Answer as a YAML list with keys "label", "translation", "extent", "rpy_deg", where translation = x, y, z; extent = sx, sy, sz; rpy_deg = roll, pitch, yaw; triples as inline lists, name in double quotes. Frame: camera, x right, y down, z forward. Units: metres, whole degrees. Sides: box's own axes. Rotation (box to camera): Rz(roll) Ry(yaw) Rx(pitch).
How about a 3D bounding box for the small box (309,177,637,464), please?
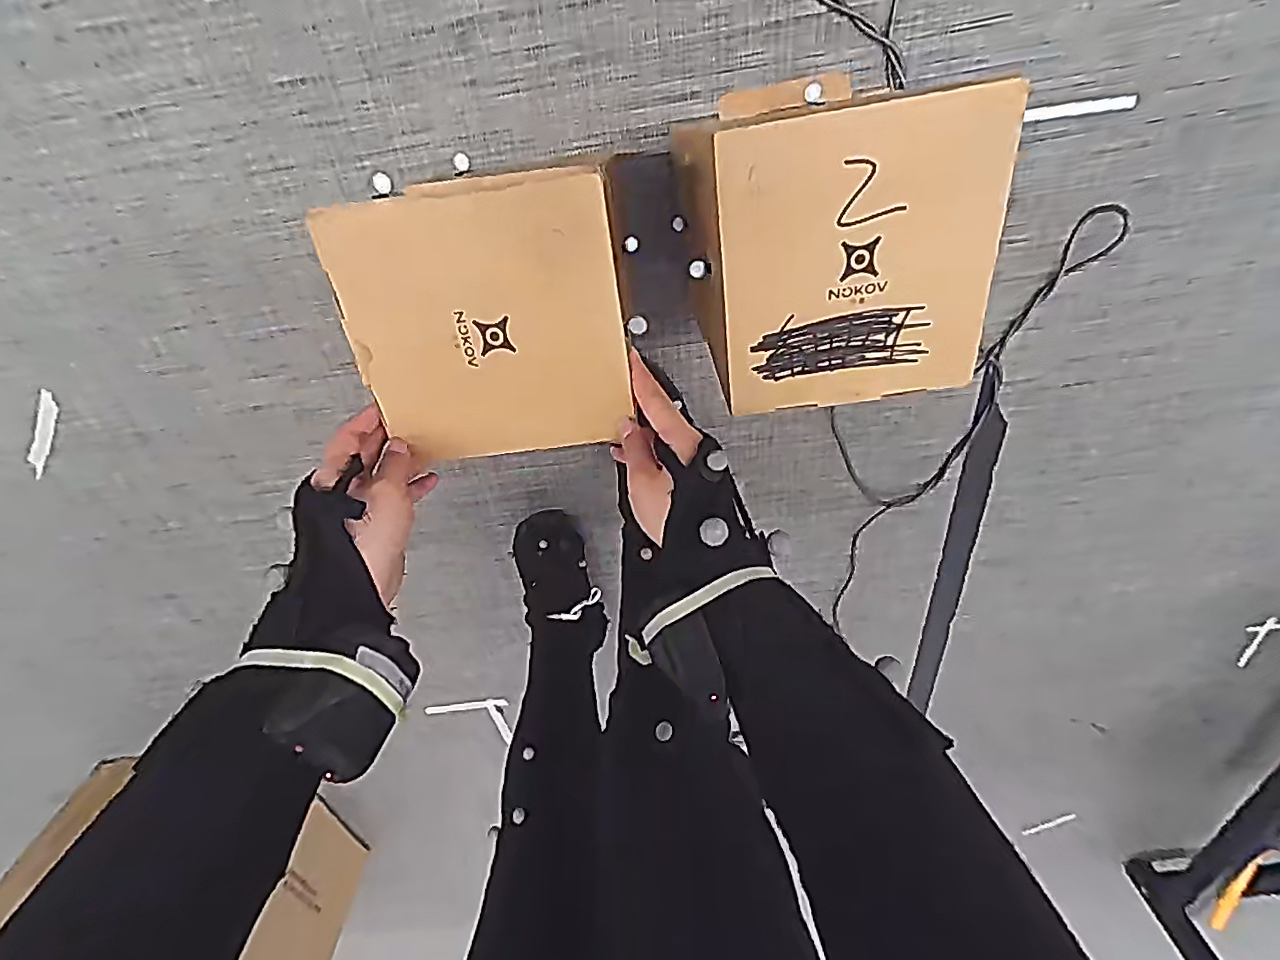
- label: "small box"
  translation: [-0.100, -0.130, 0.416]
  extent: [0.179, 0.176, 0.168]
  rpy_deg: [-7, 119, 3]

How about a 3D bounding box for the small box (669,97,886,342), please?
- label: "small box"
  translation: [0.123, -0.258, 0.538]
  extent: [0.168, 0.176, 0.179]
  rpy_deg: [-8, 124, 4]

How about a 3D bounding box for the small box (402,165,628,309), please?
- label: "small box"
  translation: [-0.108, -0.222, 0.557]
  extent: [0.179, 0.176, 0.168]
  rpy_deg: [-3, 123, 3]
